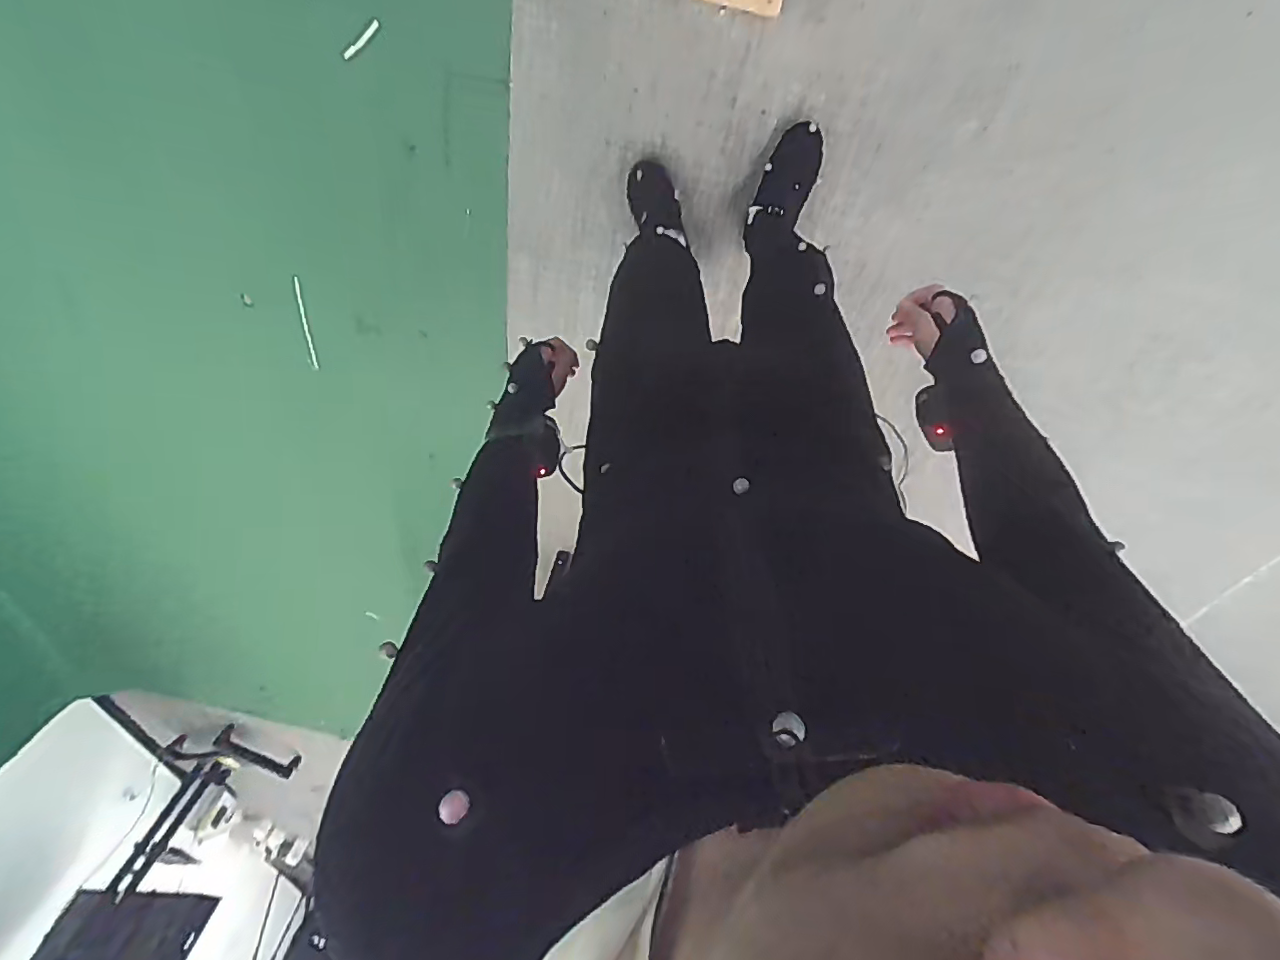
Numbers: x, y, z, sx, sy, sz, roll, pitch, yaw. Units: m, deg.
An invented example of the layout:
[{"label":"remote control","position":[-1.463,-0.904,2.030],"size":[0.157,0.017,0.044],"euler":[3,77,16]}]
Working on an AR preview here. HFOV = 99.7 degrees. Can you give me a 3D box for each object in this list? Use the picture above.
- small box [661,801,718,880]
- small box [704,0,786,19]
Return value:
[{"label":"small box","position":[0.176,1.238,1.860],"size":[0.168,0.176,0.179],"euler":[12,130,2]},{"label":"small box","position":[0.198,-0.949,0.957],"size":[0.168,0.176,0.179],"euler":[14,130,1]}]
